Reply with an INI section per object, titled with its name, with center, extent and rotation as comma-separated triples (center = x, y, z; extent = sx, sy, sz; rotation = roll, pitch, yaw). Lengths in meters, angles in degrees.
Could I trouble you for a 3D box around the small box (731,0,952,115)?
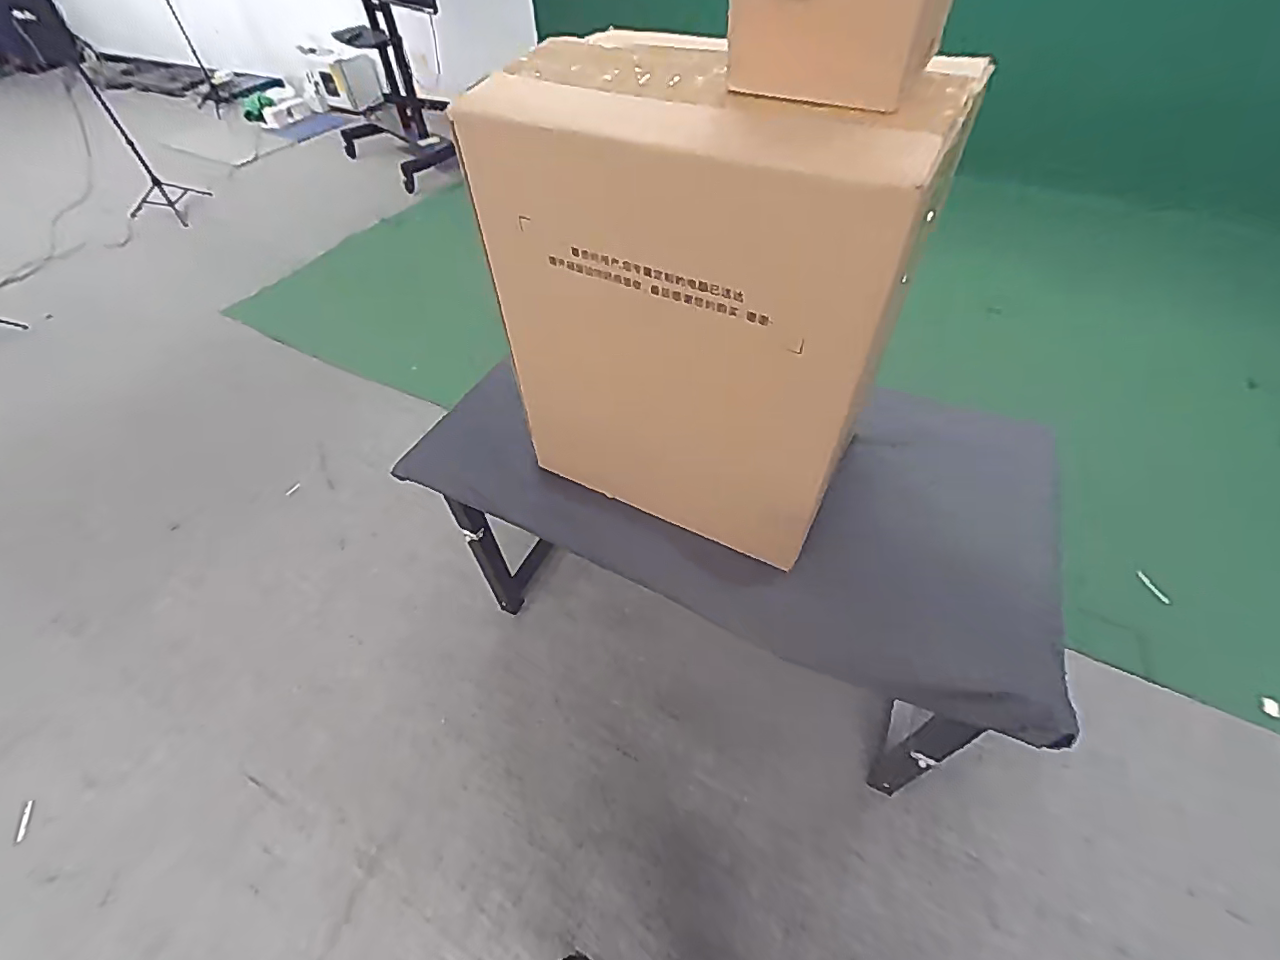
[small box]
center = 0.196, -0.475, 0.511
extent = 0.179, 0.176, 0.168
rotation = 23, 61, 21
